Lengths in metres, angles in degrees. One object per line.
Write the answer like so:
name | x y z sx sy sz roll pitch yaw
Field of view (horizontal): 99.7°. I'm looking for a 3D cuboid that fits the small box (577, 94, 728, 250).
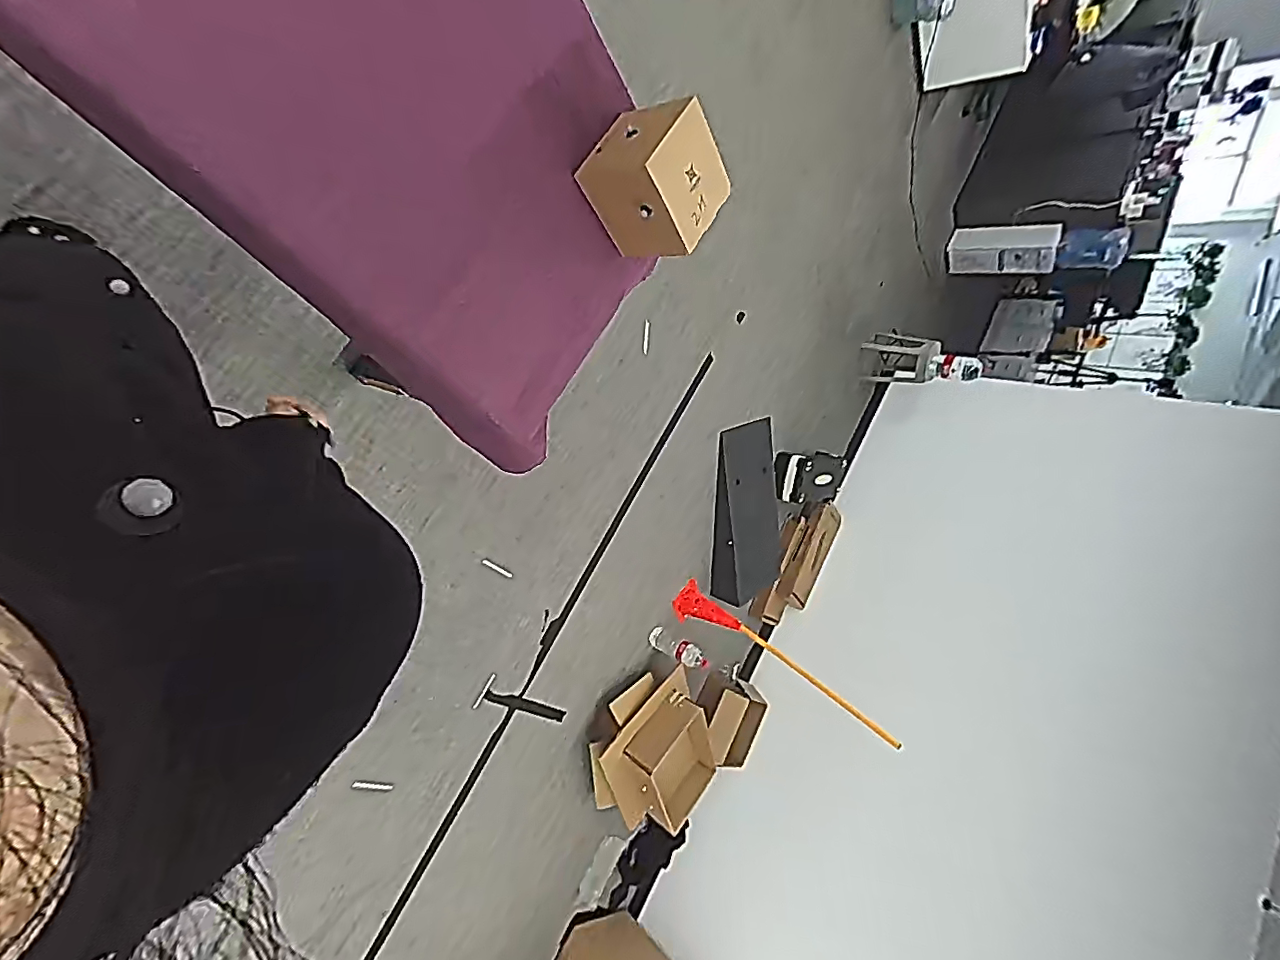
small box | 0.021 -0.527 0.952 0.168 0.176 0.179 -58 140 -14
